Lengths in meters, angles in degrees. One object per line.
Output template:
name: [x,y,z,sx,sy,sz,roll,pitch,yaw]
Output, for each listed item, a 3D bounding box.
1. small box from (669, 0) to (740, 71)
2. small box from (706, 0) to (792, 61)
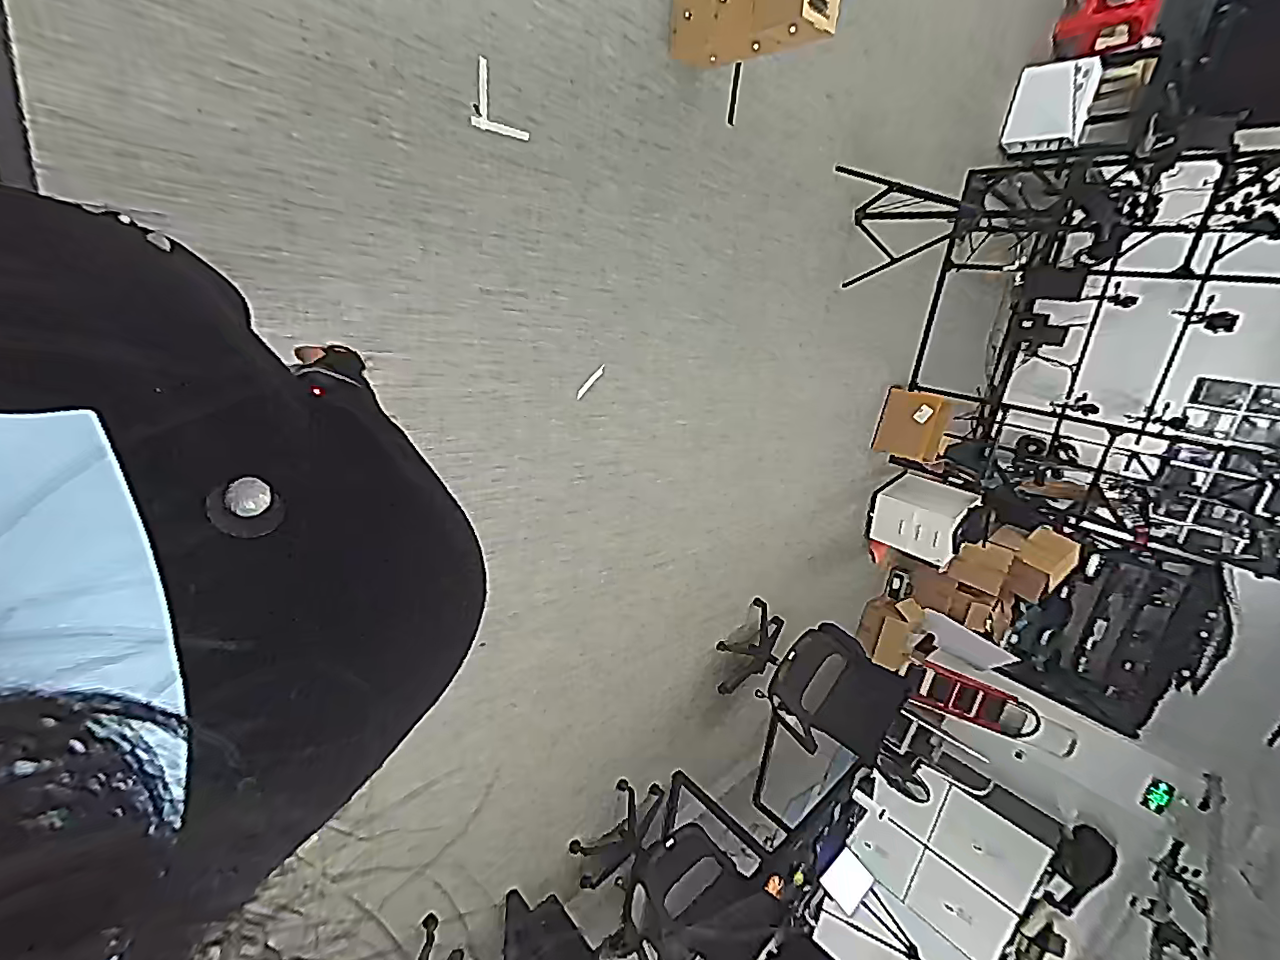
small box: [0.210,-1.421,1.704,0.179,0.176,0.168,-15,119,-42]
small box: [0.322,-1.371,1.596,0.179,0.176,0.168,-13,117,-41]
